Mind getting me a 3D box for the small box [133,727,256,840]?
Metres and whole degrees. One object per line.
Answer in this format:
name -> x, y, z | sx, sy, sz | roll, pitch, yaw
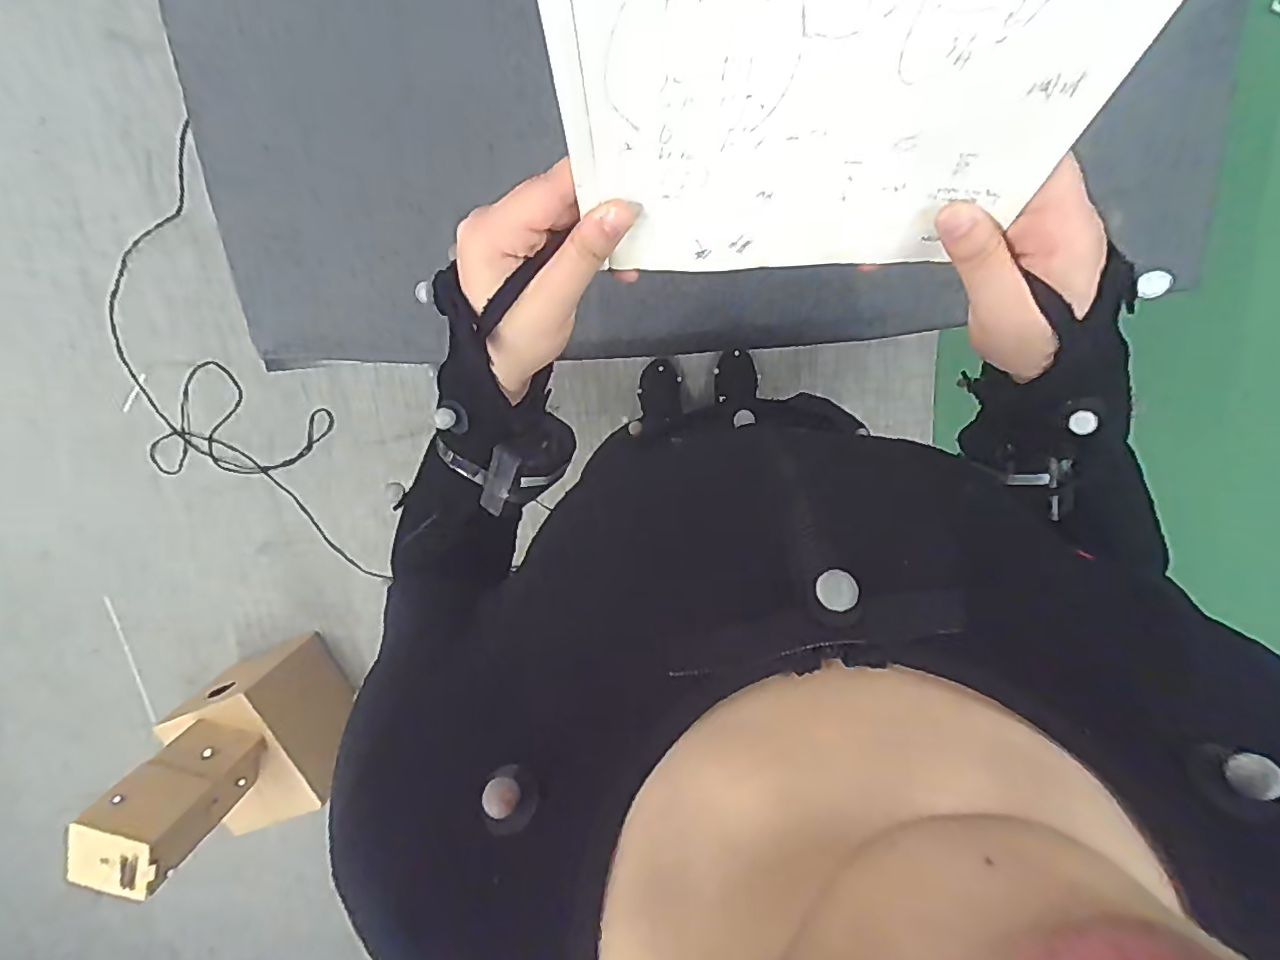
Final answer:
small box -> -1.118, 0.758, 1.368 | 0.179, 0.176, 0.168 | 17, 104, -3
